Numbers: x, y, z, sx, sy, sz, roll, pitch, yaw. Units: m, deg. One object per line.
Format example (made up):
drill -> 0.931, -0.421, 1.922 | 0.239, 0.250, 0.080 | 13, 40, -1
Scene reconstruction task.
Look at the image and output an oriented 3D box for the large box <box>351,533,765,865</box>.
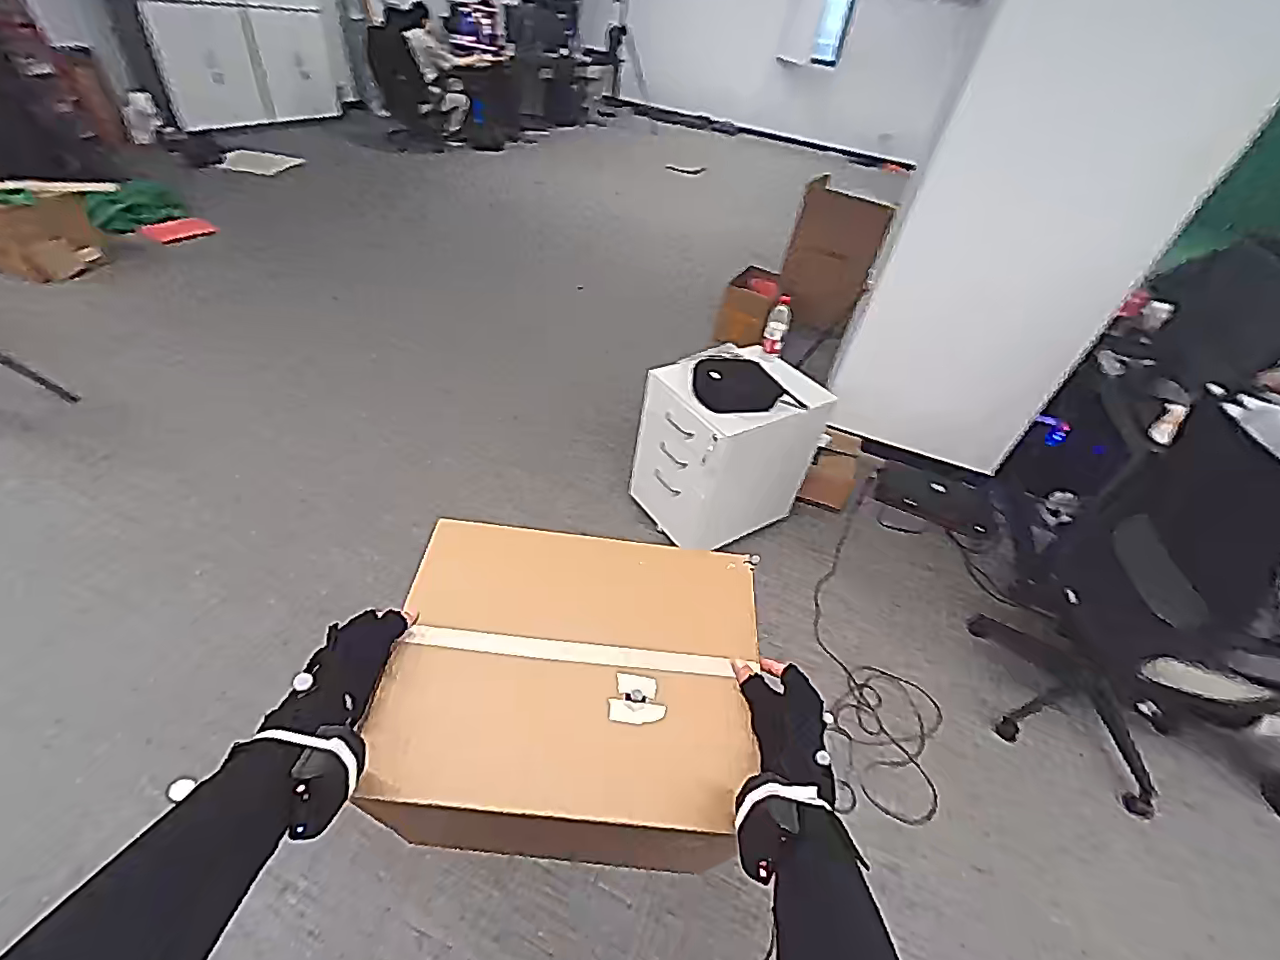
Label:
large box -> -0.088, 0.299, 0.721 | 0.408, 0.320, 0.320 | 7, 49, -4
